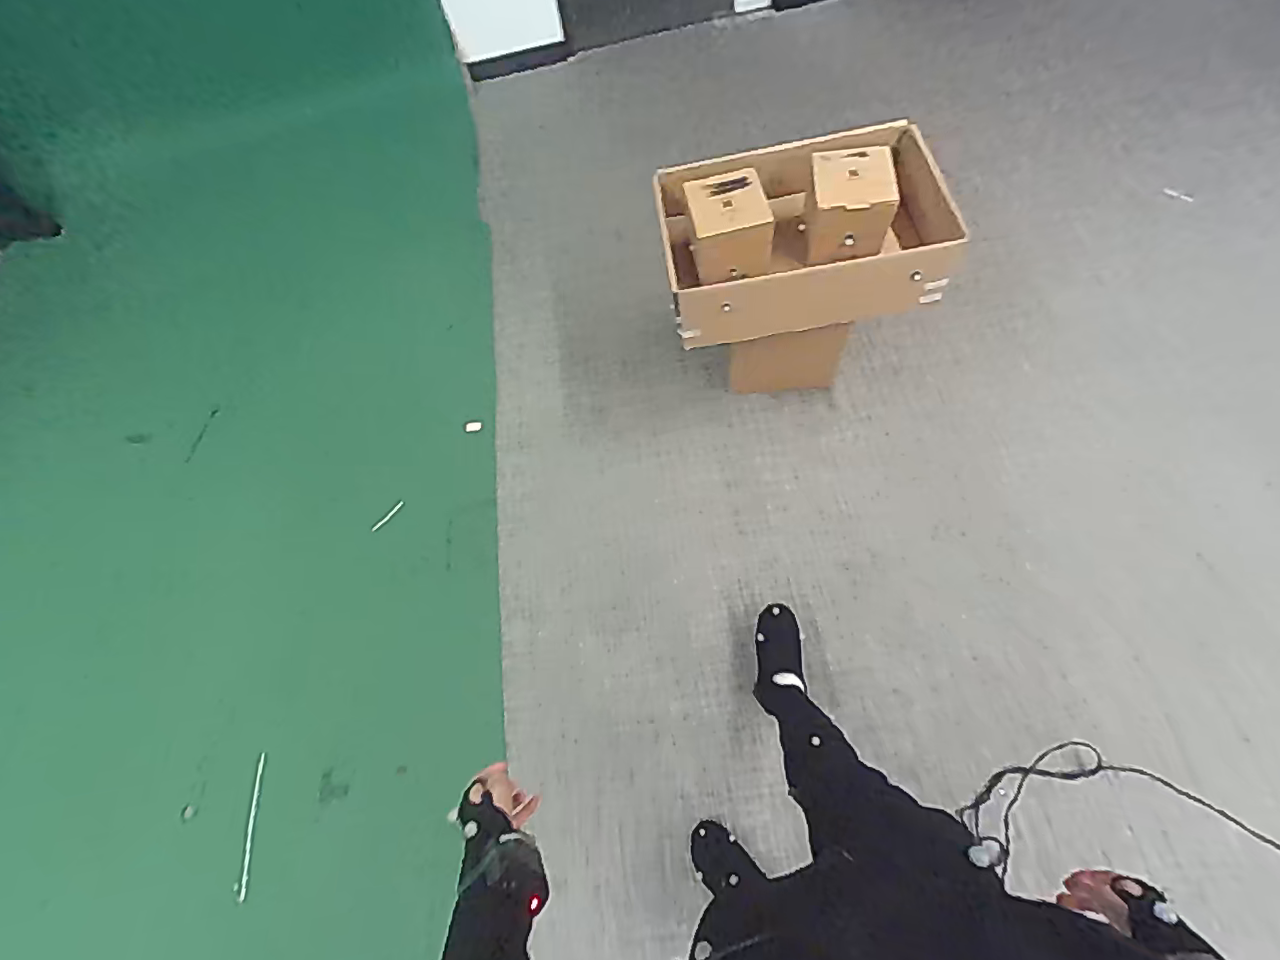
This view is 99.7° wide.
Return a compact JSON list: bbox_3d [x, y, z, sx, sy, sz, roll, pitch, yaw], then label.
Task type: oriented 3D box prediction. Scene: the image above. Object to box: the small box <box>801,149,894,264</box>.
[{"bbox_3d":[0.468,-0.617,1.241,0.168,0.176,0.179,1,67,8],"label":"small box"}]
